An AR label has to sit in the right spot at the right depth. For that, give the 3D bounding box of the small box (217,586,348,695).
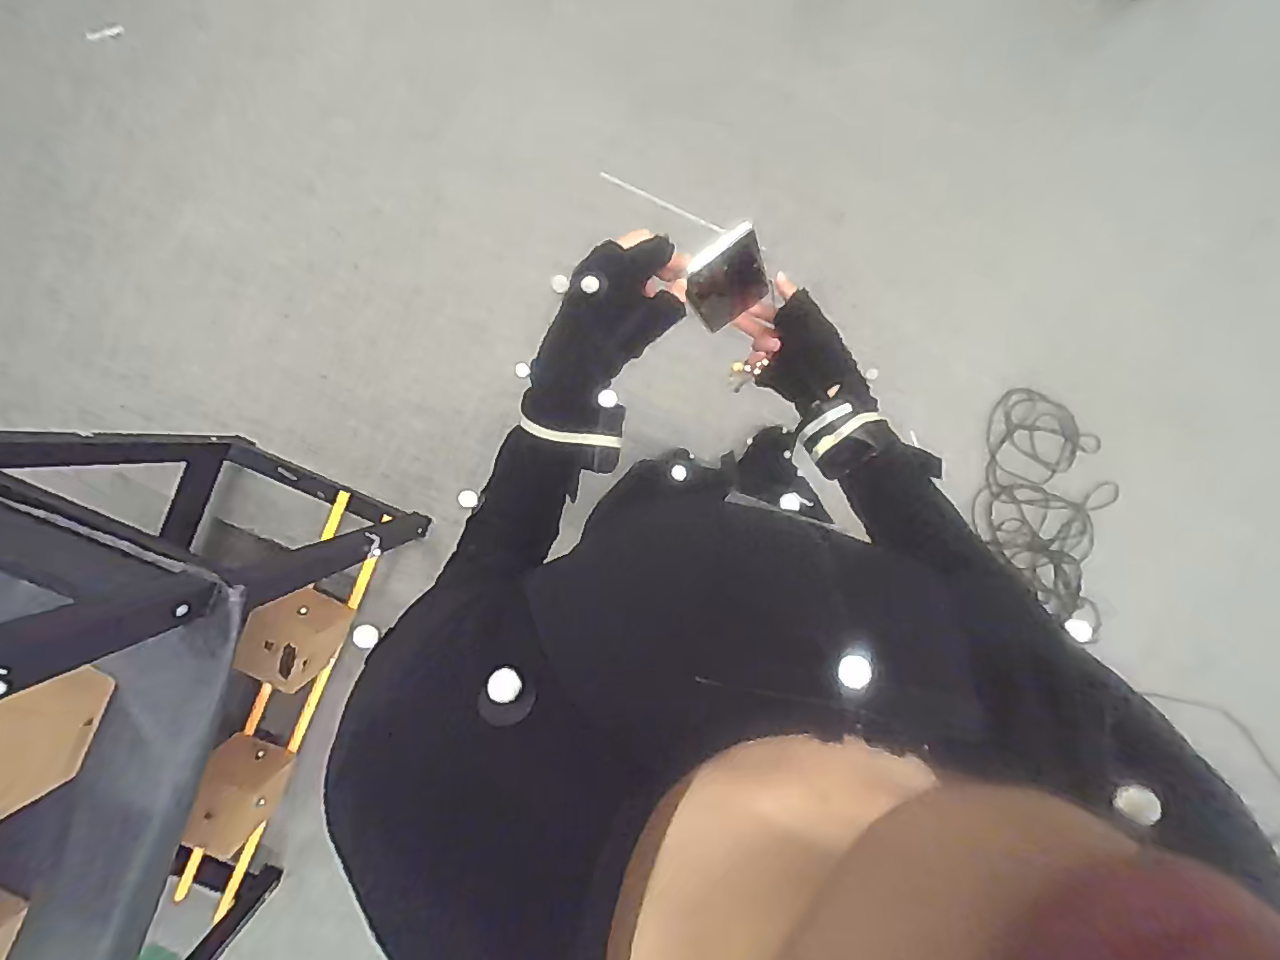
[{"bbox_3d":[-0.844,0.374,1.297,0.179,0.176,0.168,27,93,-3],"label":"small box"}]
